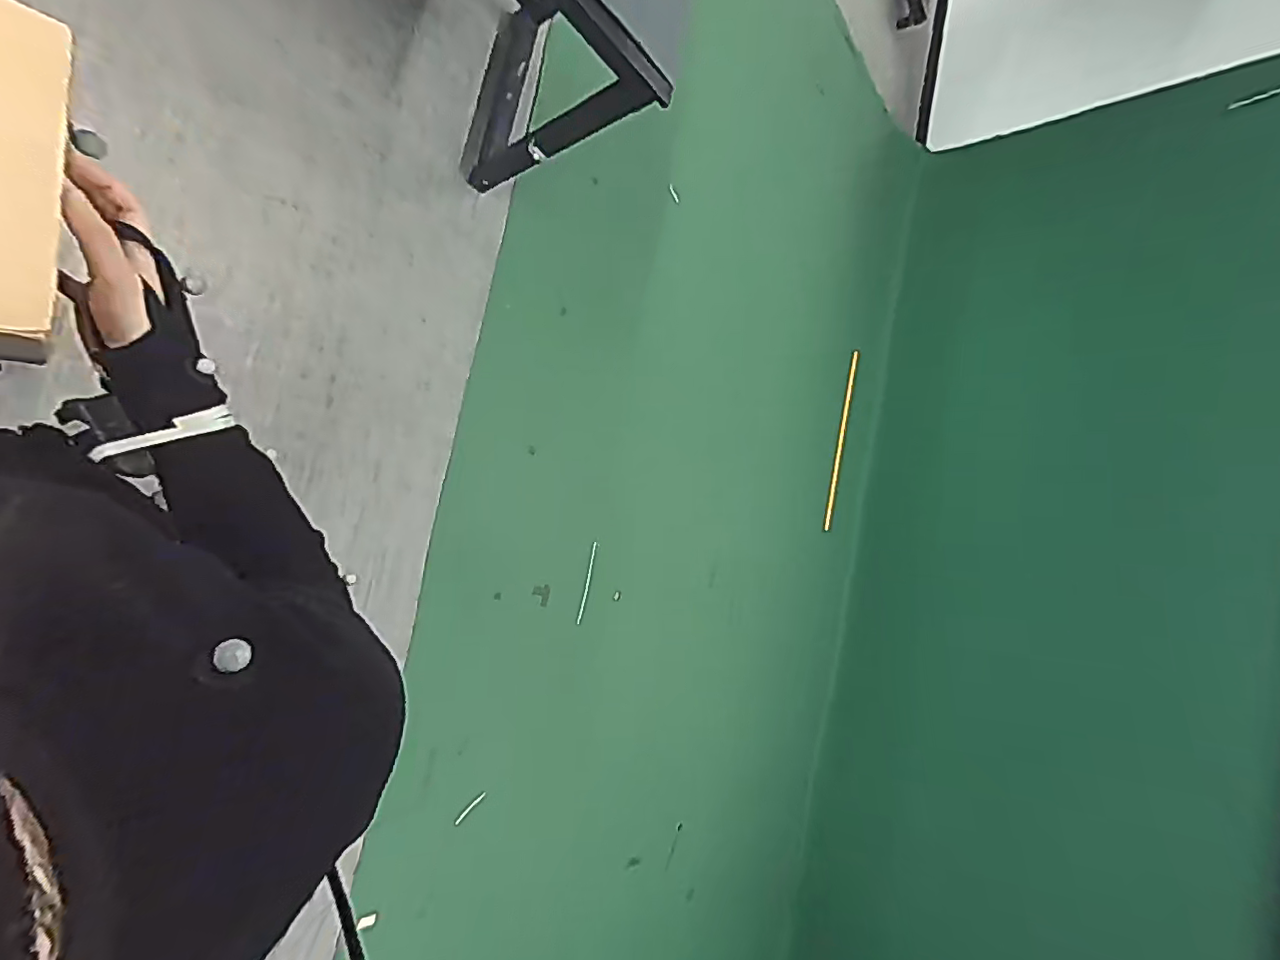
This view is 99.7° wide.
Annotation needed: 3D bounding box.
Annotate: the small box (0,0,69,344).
[{"bbox_3d":[-0.424,-0.181,0.276,0.168,0.176,0.179,4,90,-49],"label":"small box"}]
